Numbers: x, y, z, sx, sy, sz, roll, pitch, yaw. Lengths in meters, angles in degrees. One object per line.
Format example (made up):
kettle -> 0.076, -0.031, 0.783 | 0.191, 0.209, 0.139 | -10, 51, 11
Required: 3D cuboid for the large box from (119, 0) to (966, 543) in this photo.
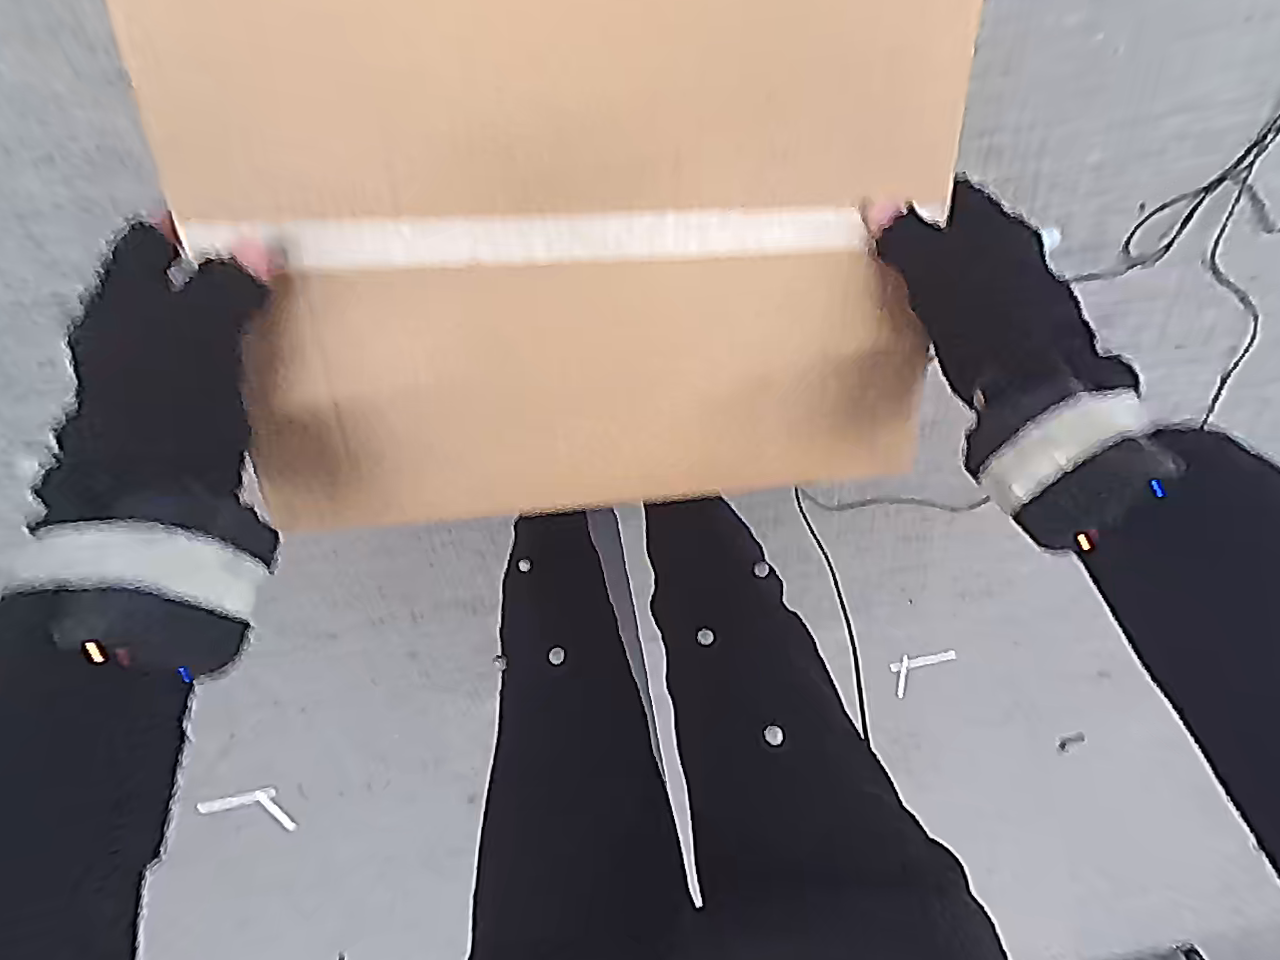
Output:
large box -> -0.045, -0.178, 0.431 | 0.408, 0.320, 0.320 | -6, 111, -9
